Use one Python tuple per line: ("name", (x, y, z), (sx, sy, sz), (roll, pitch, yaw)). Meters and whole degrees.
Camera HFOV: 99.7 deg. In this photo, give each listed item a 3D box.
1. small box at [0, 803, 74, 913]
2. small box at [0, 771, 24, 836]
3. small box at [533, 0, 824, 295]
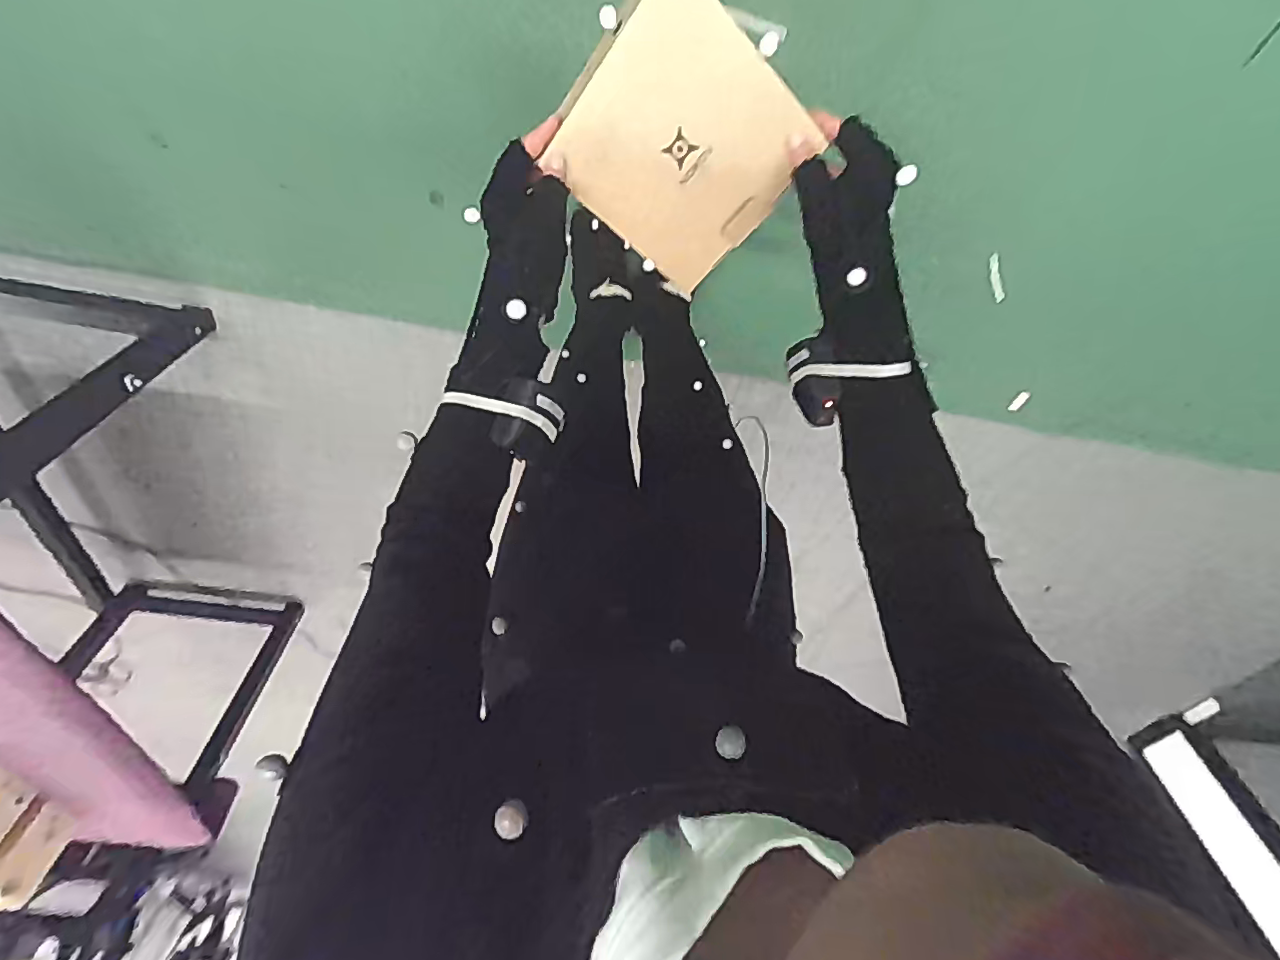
("small box", (-1.433, 0.824, 1.188), (0.179, 0.176, 0.168), (10, 130, -8))
("small box", (-1.383, 0.665, 1.053), (0.179, 0.176, 0.168), (10, 129, -8))
("small box", (0.027, -0.311, 0.488), (0.179, 0.176, 0.168), (31, 124, -29))
